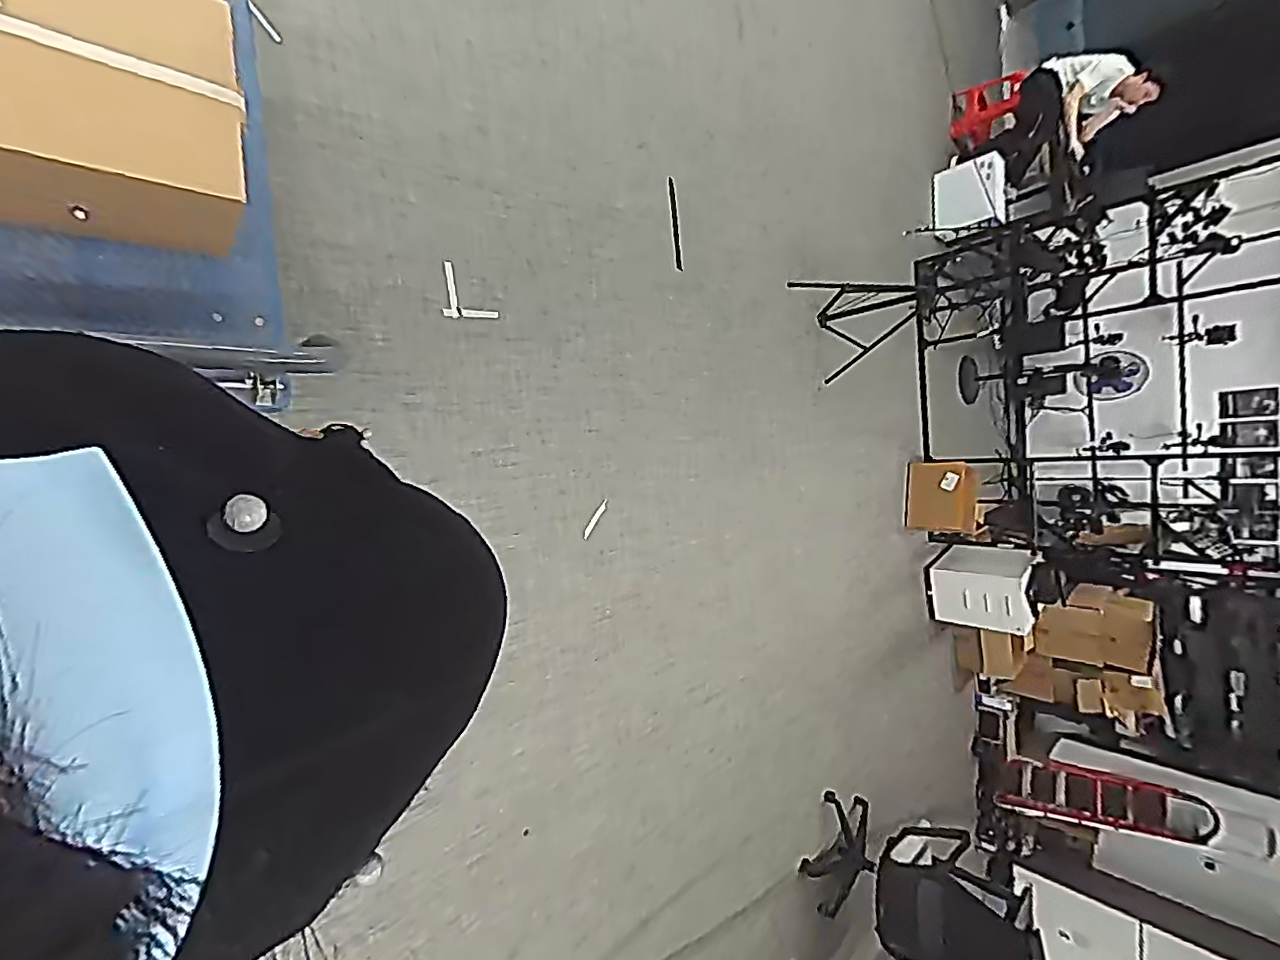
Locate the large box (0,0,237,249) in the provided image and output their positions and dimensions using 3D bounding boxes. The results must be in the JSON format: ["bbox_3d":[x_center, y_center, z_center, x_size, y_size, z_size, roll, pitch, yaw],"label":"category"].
[{"bbox_3d":[-0.898,-0.593,0.839,0.408,0.320,0.320,-5,92,-41],"label":"large box"}]
